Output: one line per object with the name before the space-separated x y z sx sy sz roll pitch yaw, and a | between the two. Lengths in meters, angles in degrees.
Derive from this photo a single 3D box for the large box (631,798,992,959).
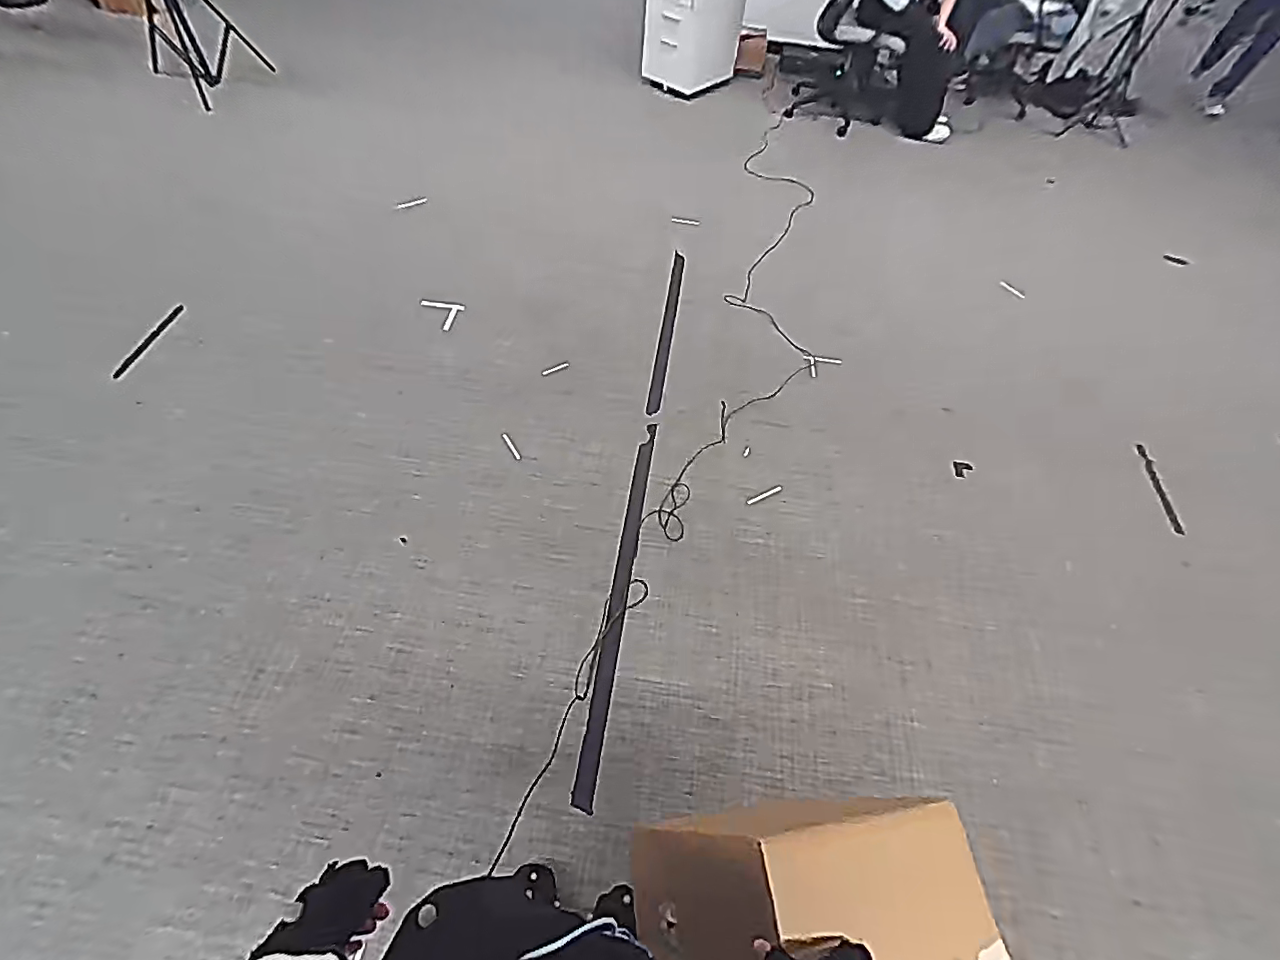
large box | 0.215 0.651 0.755 0.320 0.408 0.320 5 59 -22
